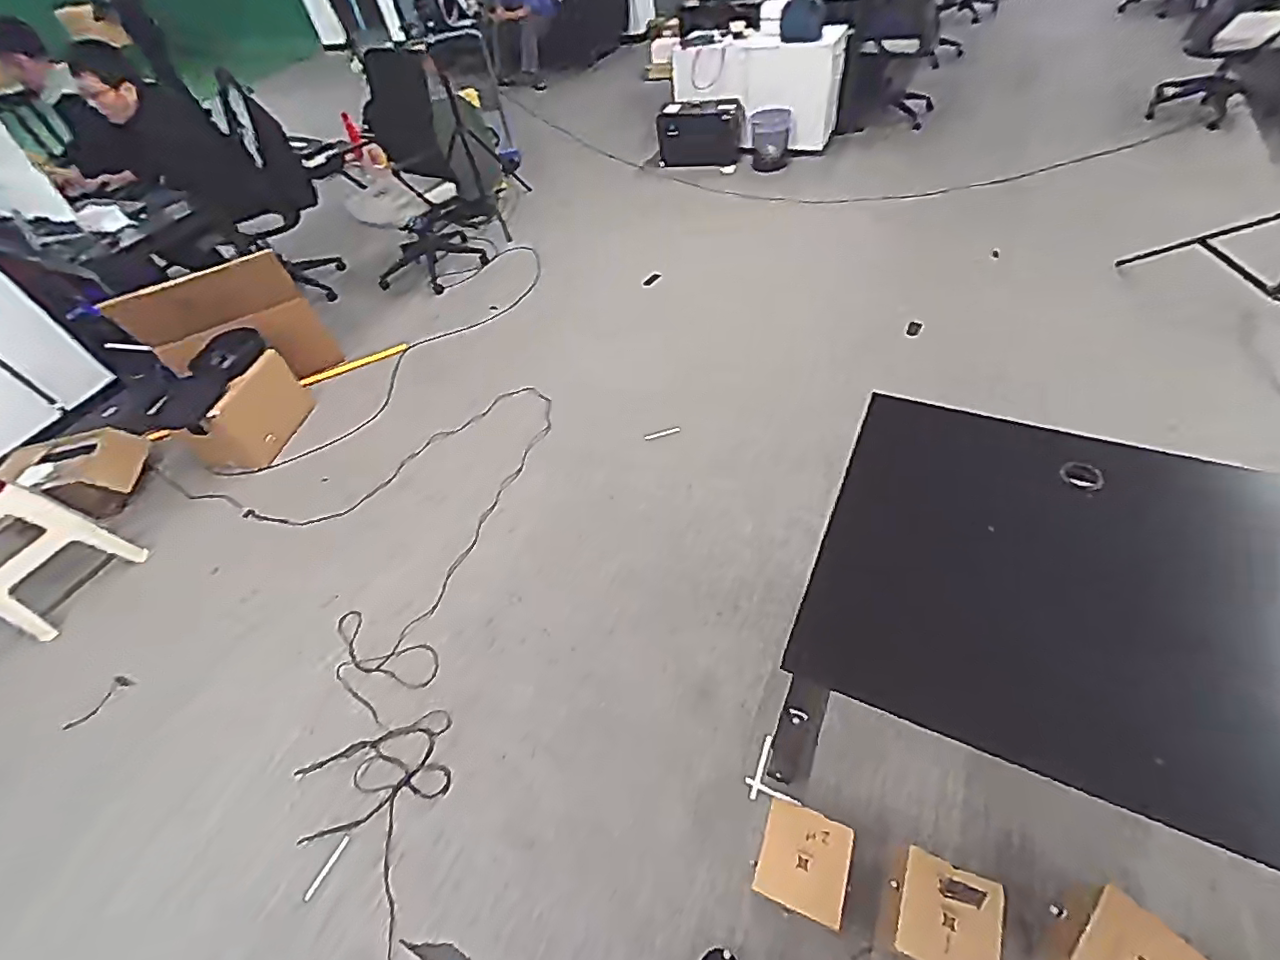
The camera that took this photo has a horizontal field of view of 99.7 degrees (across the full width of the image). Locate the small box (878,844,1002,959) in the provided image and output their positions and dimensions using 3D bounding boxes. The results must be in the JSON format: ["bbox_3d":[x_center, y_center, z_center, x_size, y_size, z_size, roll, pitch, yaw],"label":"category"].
[{"bbox_3d":[0.578,0.851,1.053,0.168,0.176,0.179,16,56,21],"label":"small box"}]

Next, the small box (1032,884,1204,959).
[{"bbox_3d":[0.868,0.882,0.981,0.168,0.176,0.179,-38,54,-22],"label":"small box"}]
